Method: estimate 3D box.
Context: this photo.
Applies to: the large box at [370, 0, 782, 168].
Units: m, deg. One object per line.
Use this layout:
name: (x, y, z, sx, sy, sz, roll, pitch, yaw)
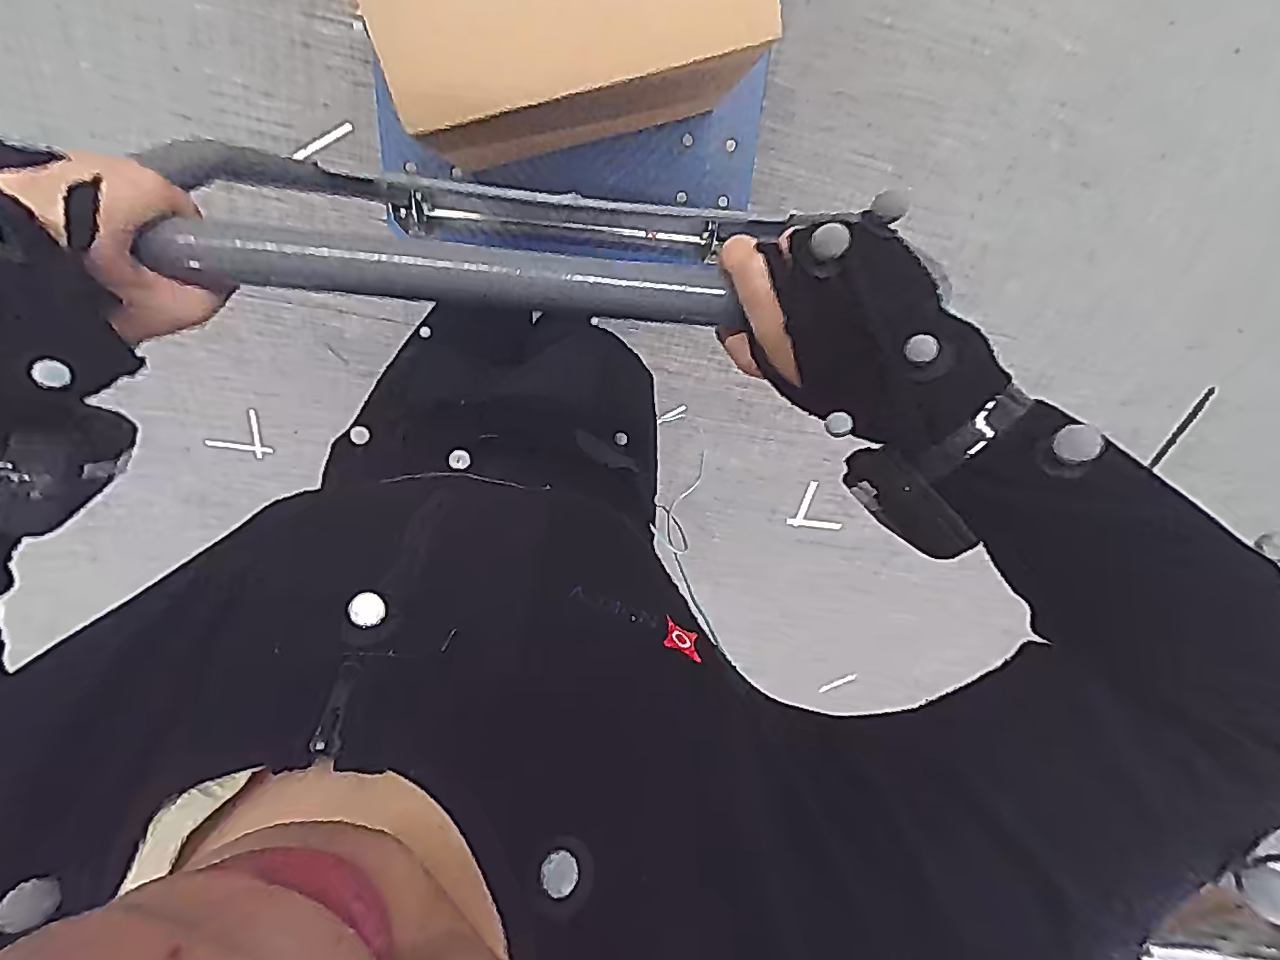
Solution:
large box: (-0.098, -0.607, 0.634, 0.408, 0.320, 0.320, -15, 114, -1)
